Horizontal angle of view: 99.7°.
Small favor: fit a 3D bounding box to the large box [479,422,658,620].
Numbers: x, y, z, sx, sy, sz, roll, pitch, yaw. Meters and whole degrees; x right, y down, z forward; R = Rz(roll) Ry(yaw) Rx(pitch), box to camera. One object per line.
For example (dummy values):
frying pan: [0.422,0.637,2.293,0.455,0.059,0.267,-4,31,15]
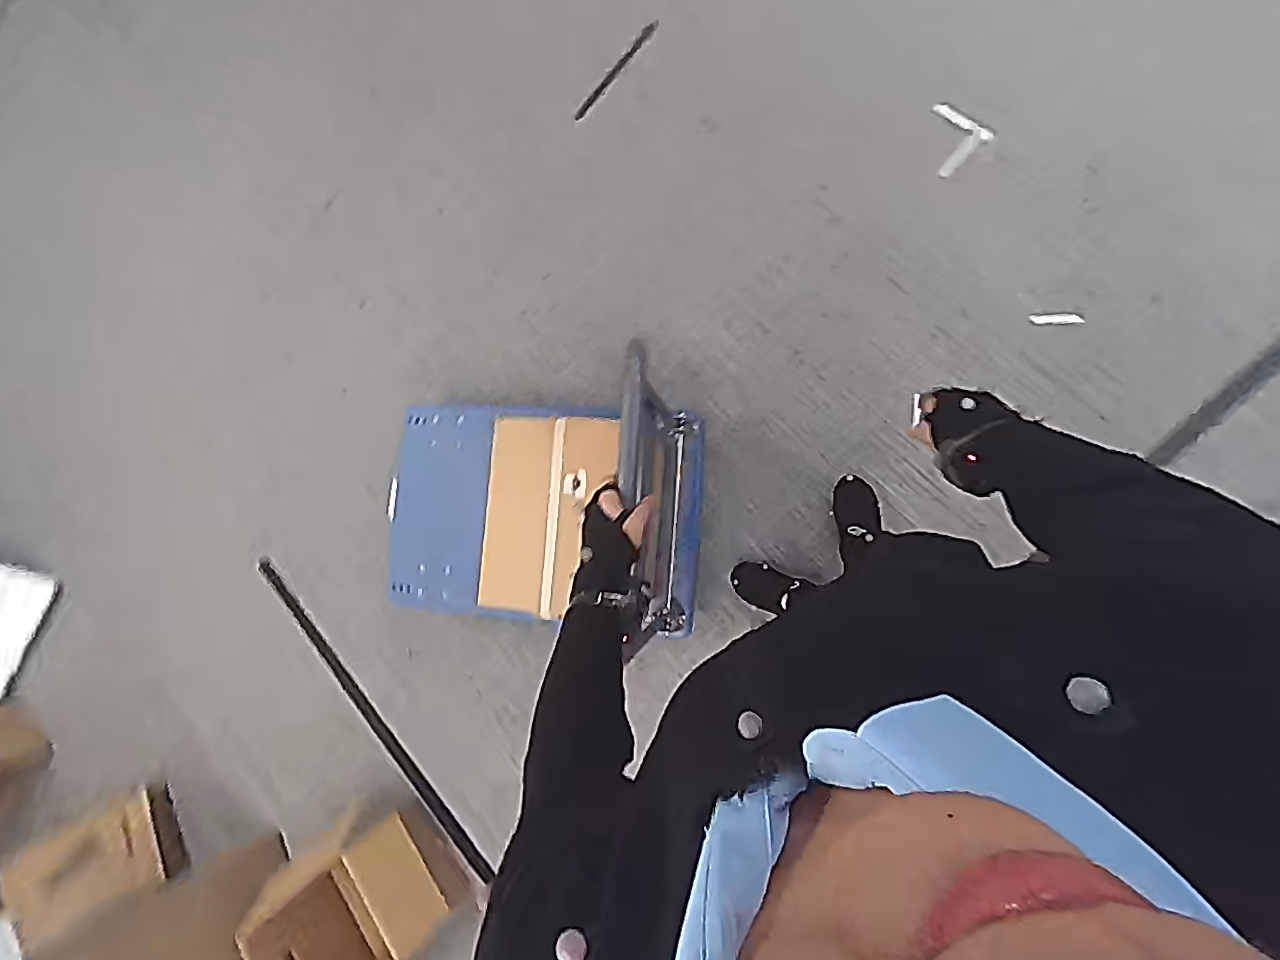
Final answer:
large box: [-0.147,0.093,1.264,0.320,0.320,0.408,3,85,14]
